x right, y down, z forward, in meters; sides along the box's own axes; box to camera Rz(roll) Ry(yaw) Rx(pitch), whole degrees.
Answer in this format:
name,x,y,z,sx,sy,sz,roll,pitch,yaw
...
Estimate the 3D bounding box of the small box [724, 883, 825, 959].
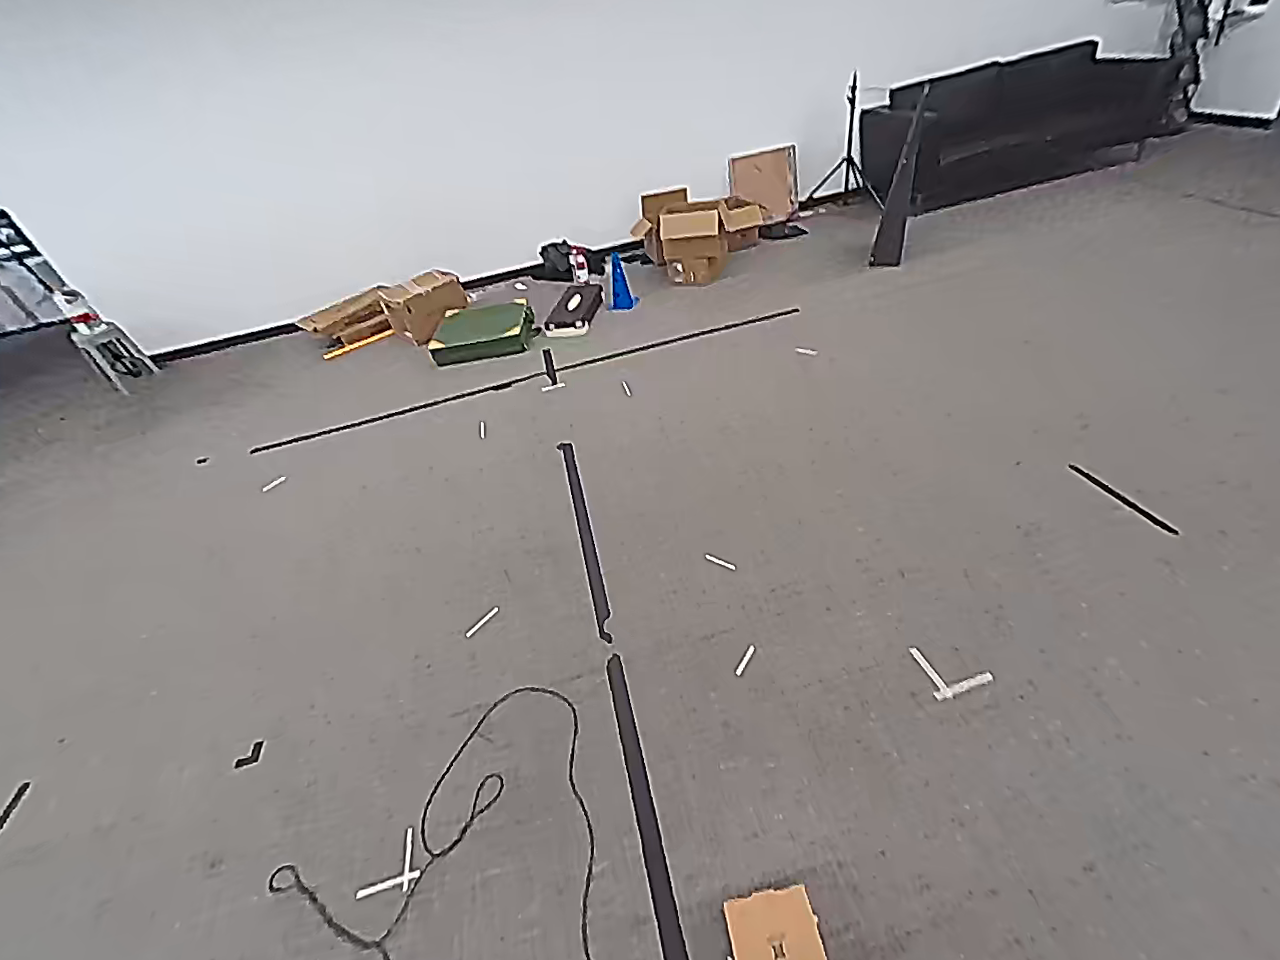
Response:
name,x,y,z,sx,sy,sz,roll,pitch,yaw
small box,0.265,0.929,1.055,0.168,0.176,0.179,-12,39,0
